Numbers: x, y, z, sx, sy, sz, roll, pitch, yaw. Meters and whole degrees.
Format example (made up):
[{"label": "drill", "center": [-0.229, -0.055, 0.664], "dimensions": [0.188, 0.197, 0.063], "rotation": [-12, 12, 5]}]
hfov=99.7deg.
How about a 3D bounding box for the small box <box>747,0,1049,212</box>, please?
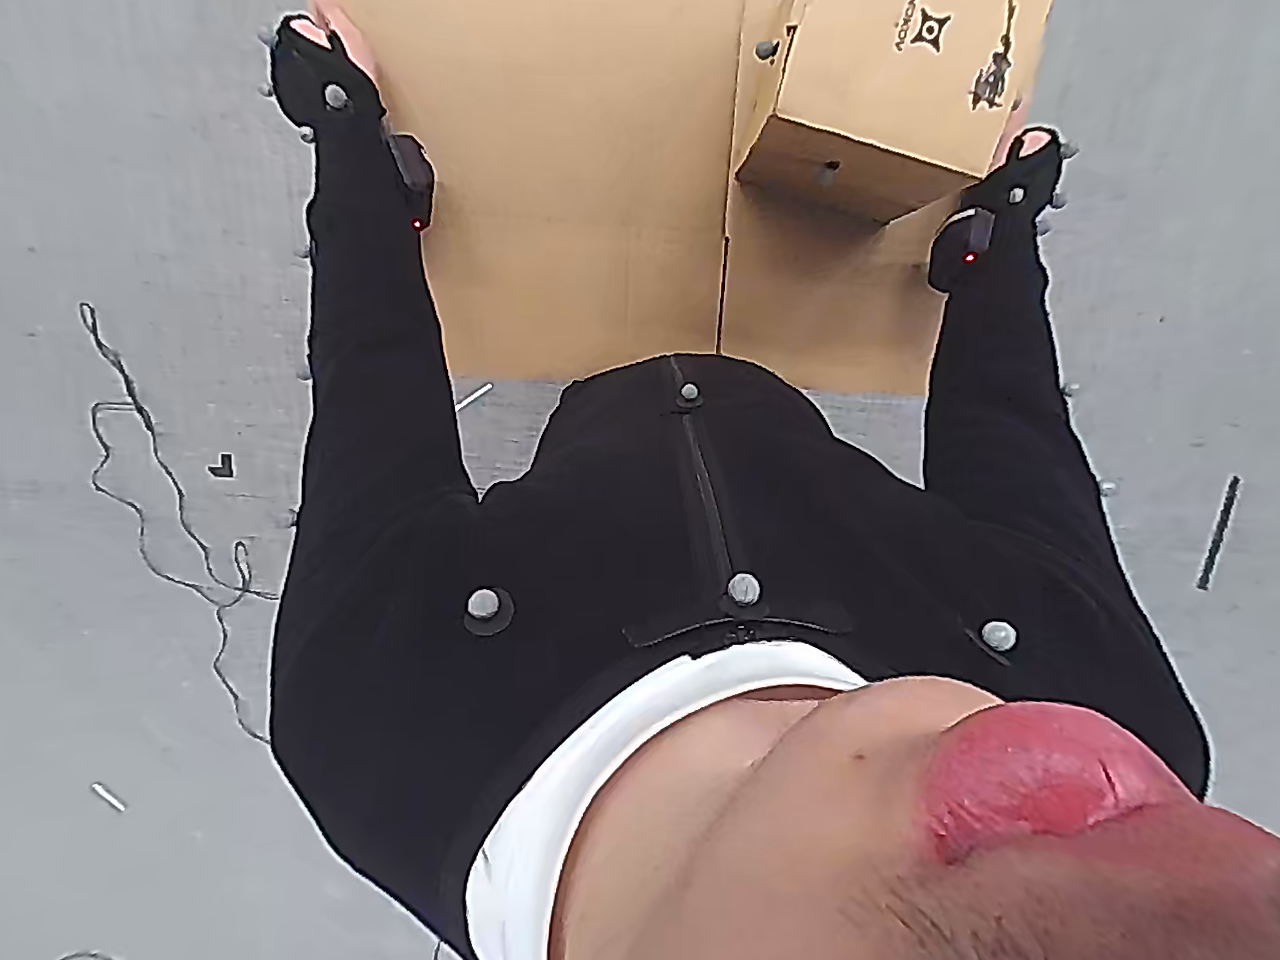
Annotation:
[{"label": "small box", "center": [0.207, -0.356, 0.476], "dimensions": [0.179, 0.176, 0.168], "rotation": [14, 105, -3]}]
